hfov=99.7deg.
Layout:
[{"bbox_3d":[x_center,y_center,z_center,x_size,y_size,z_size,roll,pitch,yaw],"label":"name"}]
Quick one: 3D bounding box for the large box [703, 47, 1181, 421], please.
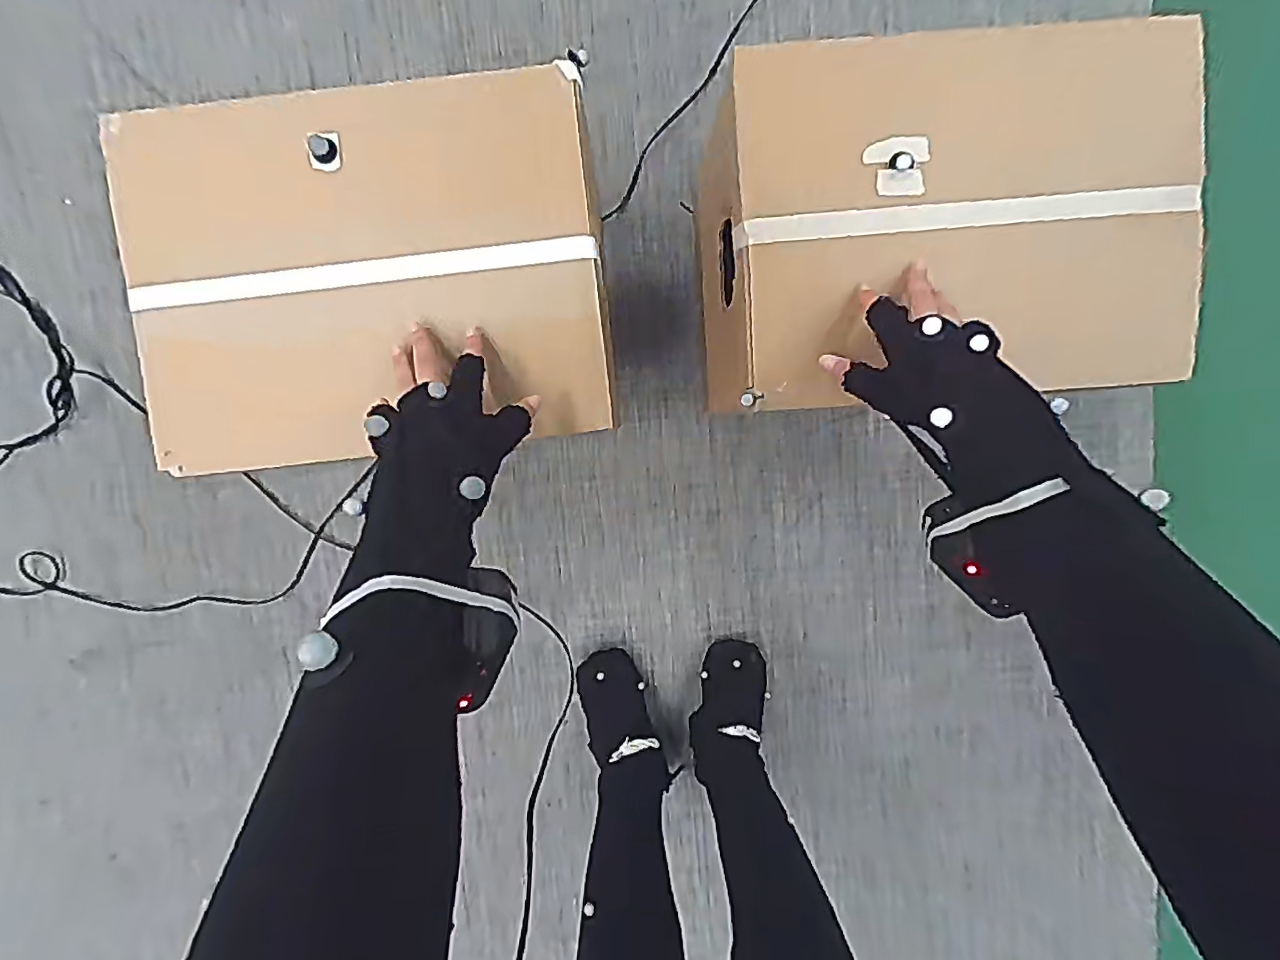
[{"bbox_3d":[0.299,-0.240,0.650,0.408,0.320,0.320,-4,95,0],"label":"large box"}]
